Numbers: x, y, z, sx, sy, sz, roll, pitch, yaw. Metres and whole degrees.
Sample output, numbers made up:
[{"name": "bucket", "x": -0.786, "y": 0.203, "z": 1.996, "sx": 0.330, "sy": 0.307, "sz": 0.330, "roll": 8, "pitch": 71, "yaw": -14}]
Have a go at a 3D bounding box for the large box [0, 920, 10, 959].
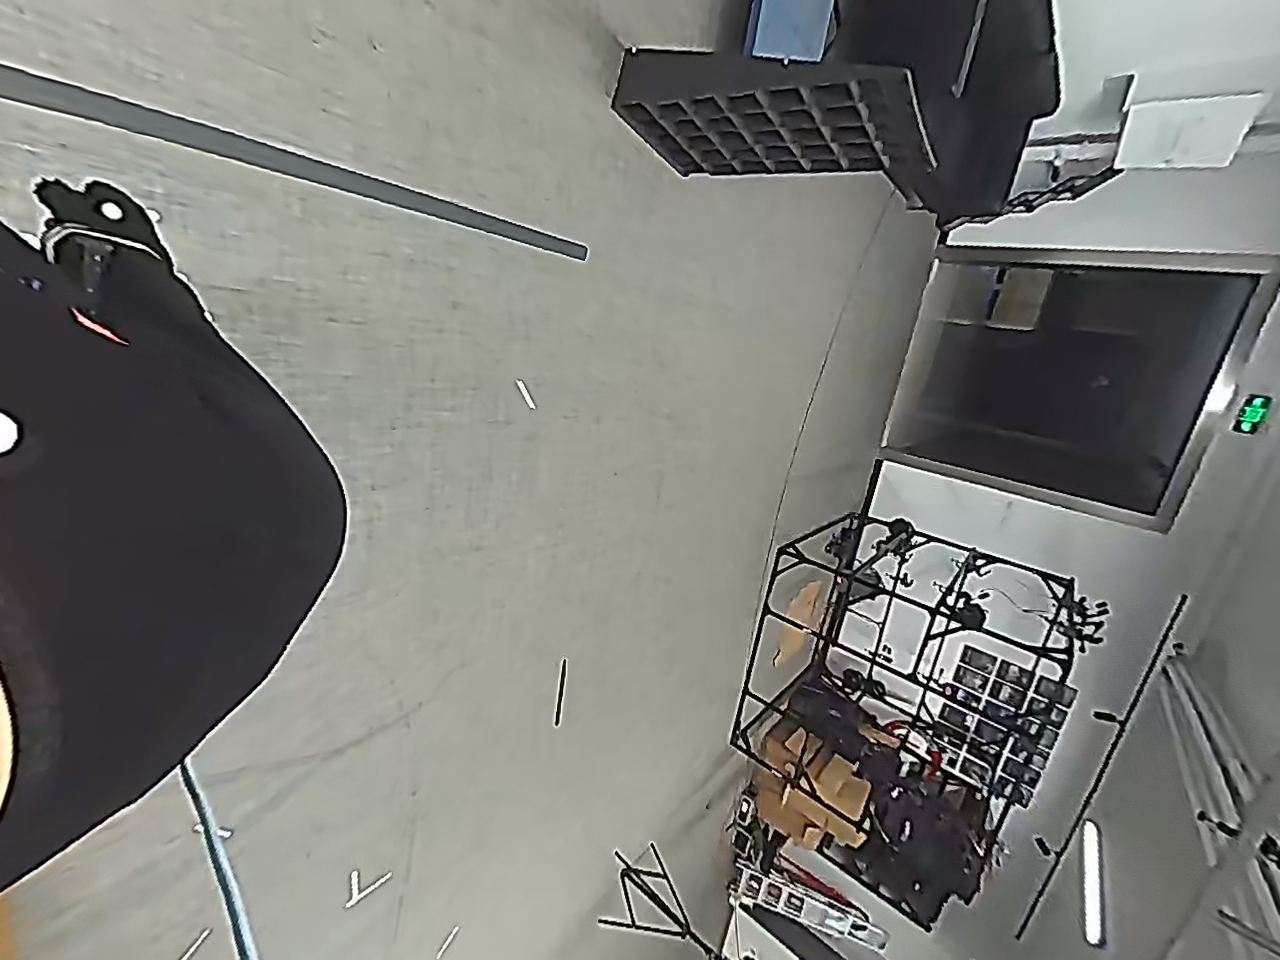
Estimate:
[{"name": "large box", "x": -1.452, "y": 1.084, "z": 0.984, "sx": 0.408, "sy": 0.320, "sz": 0.320, "roll": -7, "pitch": 112, "yaw": -52}]
